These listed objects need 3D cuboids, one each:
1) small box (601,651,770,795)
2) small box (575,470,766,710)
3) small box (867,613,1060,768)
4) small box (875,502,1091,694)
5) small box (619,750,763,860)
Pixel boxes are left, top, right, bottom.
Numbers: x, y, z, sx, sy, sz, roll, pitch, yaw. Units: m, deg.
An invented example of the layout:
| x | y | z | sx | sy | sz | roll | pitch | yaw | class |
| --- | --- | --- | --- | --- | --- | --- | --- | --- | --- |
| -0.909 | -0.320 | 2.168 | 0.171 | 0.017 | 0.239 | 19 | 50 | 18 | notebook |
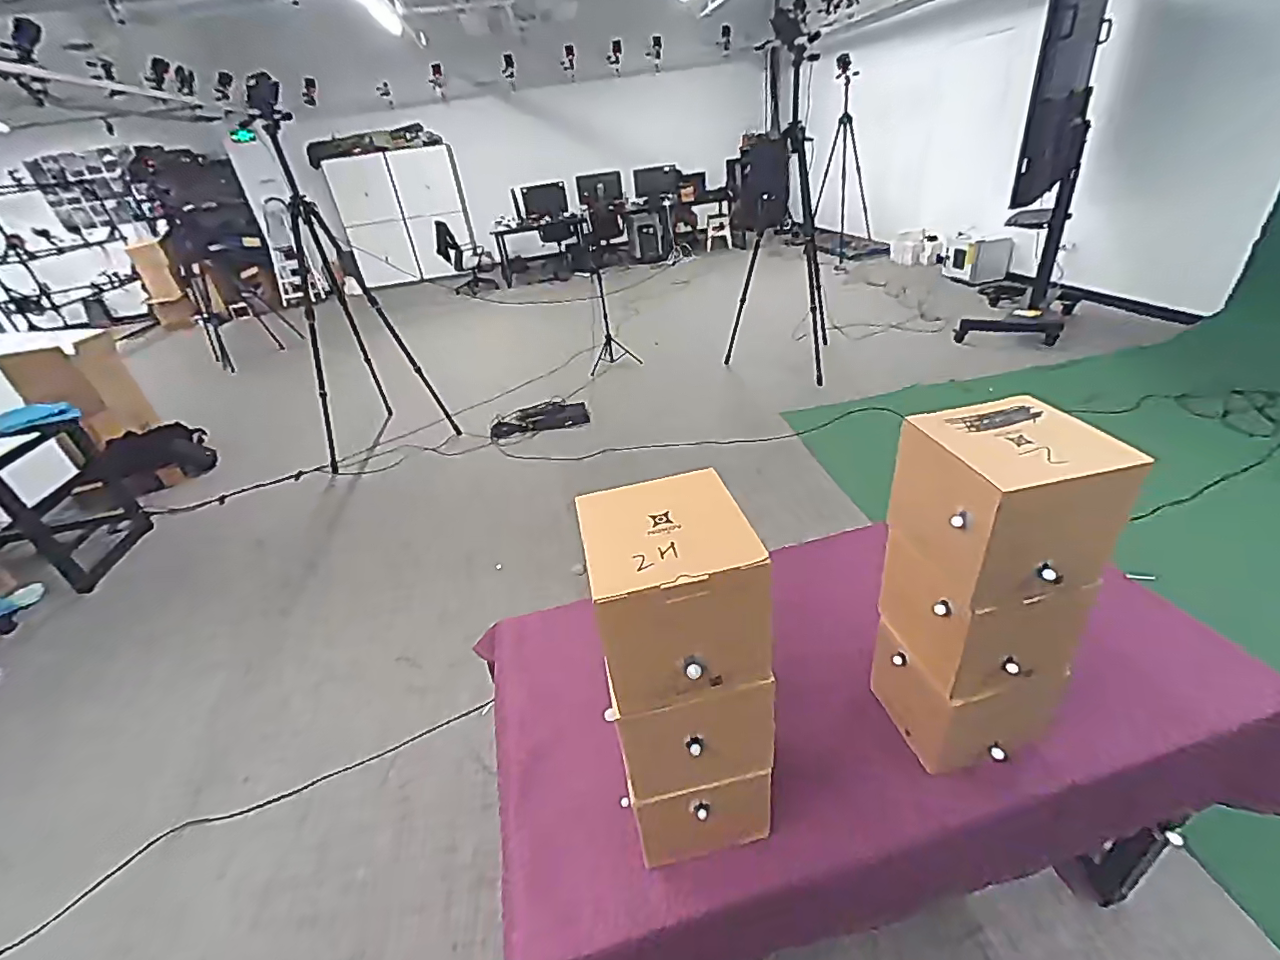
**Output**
| x | y | z | sx | sy | sz | roll | pitch | yaw | class |
| --- | --- | --- | --- | --- | --- | --- | --- | --- | --- |
| 0.051 | 0.257 | 0.678 | 0.179 | 0.176 | 0.168 | -13 | 33 | -5 | small box |
| 0.029 | 0.115 | 0.596 | 0.168 | 0.176 | 0.179 | -13 | 33 | -6 | small box |
| 0.471 | 0.300 | 0.820 | 0.179 | 0.176 | 0.168 | -11 | 31 | -6 | small box |
| 0.447 | 0.158 | 0.743 | 0.168 | 0.176 | 0.179 | -12 | 33 | -5 | small box |
| 0.065 | 0.396 | 0.762 | 0.179 | 0.176 | 0.168 | -11 | 33 | -5 | small box |
